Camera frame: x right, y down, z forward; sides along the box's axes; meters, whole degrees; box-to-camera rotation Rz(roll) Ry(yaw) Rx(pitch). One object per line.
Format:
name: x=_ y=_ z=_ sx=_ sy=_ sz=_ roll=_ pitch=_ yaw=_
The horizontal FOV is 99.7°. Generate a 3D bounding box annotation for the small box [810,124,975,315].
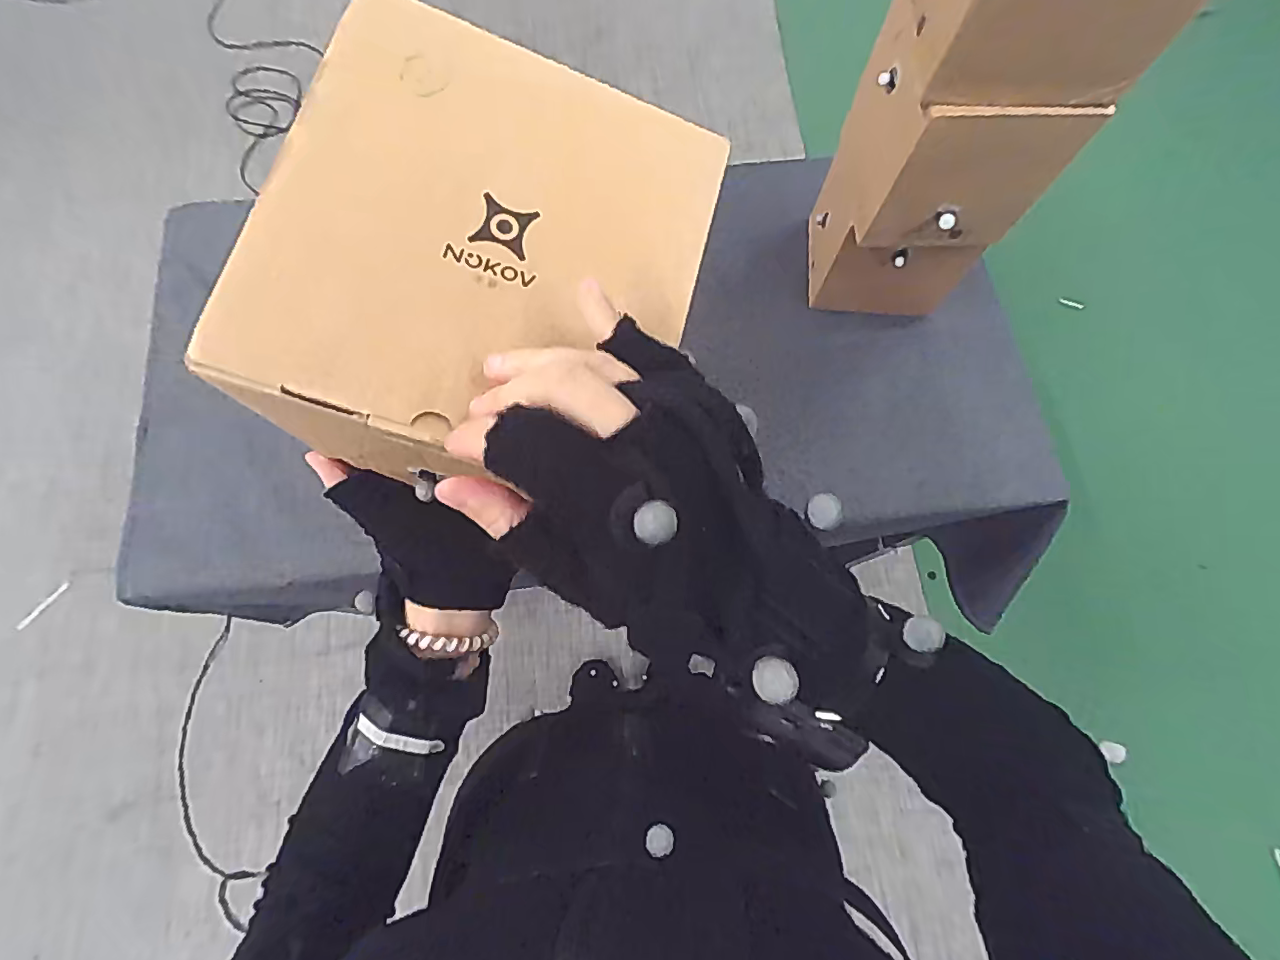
small box: x=0.339 y=-0.345 z=0.736 sx=0.179 sy=0.176 sz=0.168 roll=6 pitch=73 yaw=1

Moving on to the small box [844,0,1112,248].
small box: x=0.332 y=-0.377 z=0.574 sx=0.168 sy=0.176 sz=0.179 roll=-1 pitch=74 yaw=0

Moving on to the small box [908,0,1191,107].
small box: x=0.328 y=-0.427 z=0.419 sx=0.179 sy=0.176 sz=0.168 roll=2 pitch=74 yaw=1

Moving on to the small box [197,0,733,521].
small box: x=-0.073 y=-0.086 z=0.291 sx=0.168 sy=0.176 sz=0.179 roll=17 pitch=78 yaw=-11
